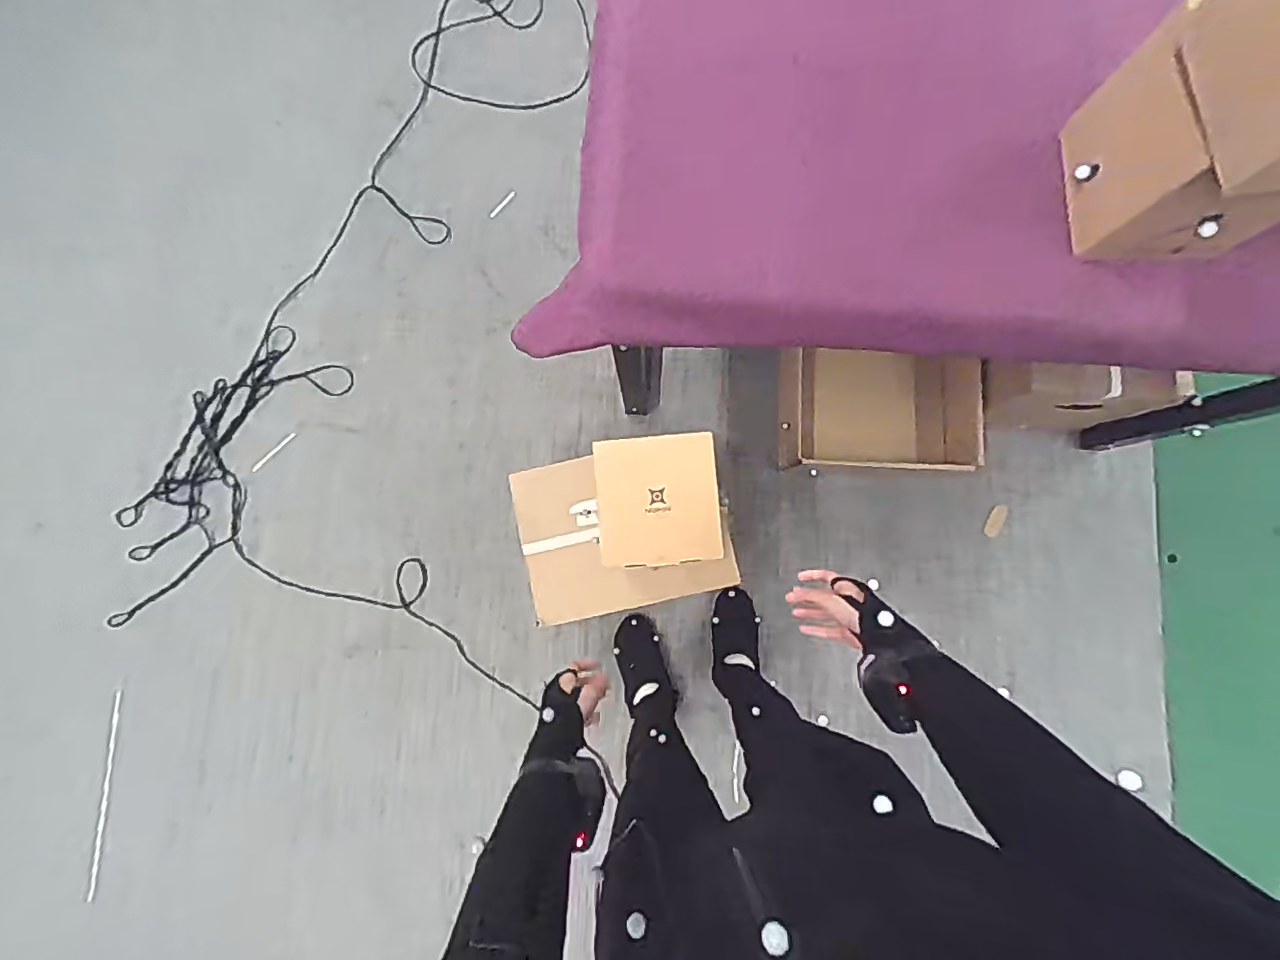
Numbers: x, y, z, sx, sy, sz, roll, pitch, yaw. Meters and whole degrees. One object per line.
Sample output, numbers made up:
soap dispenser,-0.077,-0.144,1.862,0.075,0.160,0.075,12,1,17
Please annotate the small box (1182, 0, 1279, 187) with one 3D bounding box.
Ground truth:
small box,0.581,-0.363,0.412,0.168,0.176,0.179,-7,82,2

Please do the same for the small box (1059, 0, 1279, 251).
small box,0.594,-0.364,0.579,0.168,0.176,0.179,0,82,2
